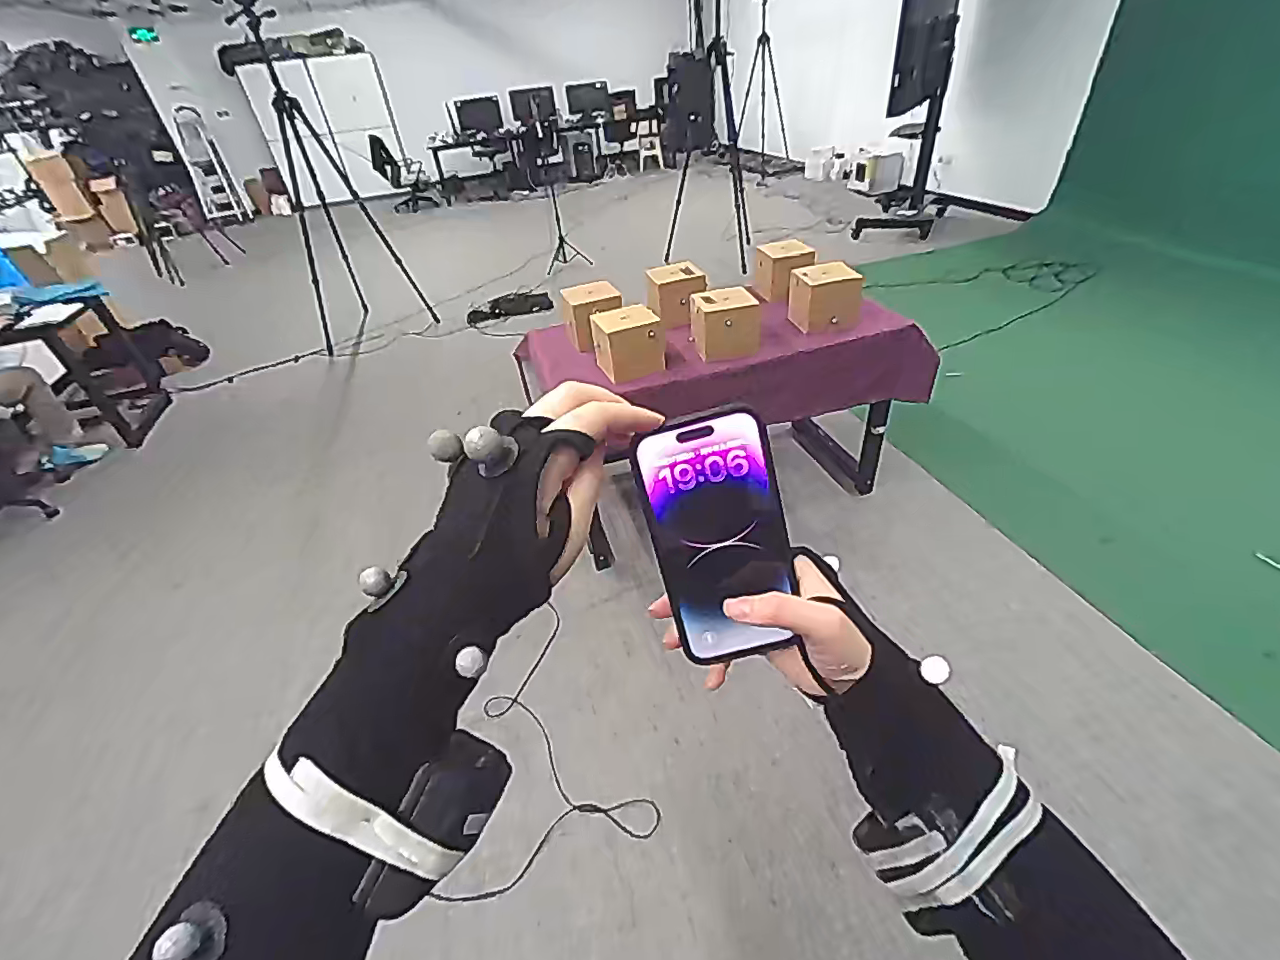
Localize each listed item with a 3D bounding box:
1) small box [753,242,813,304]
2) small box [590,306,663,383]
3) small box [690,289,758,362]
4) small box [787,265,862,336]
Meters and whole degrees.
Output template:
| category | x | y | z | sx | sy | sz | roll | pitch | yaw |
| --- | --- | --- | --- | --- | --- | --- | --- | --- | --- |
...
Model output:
| category | x | y | z | sx | sy | sz | roll | pitch | yaw |
| --- | --- | --- | --- | --- | --- | --- | --- | --- | --- |
| small box | 0.534 | -0.783 | 2.046 | 0.168 | 0.176 | 0.179 | -13 | 39 | -6 |
| small box | -0.038 | -0.417 | 1.675 | 0.179 | 0.176 | 0.168 | -17 | 39 | -15 |
| small box | 0.265 | -0.487 | 1.716 | 0.179 | 0.176 | 0.168 | -10 | 38 | -5 |
| small box | 0.607 | -0.599 | 1.803 | 0.179 | 0.176 | 0.168 | -10 | 38 | -4 |
